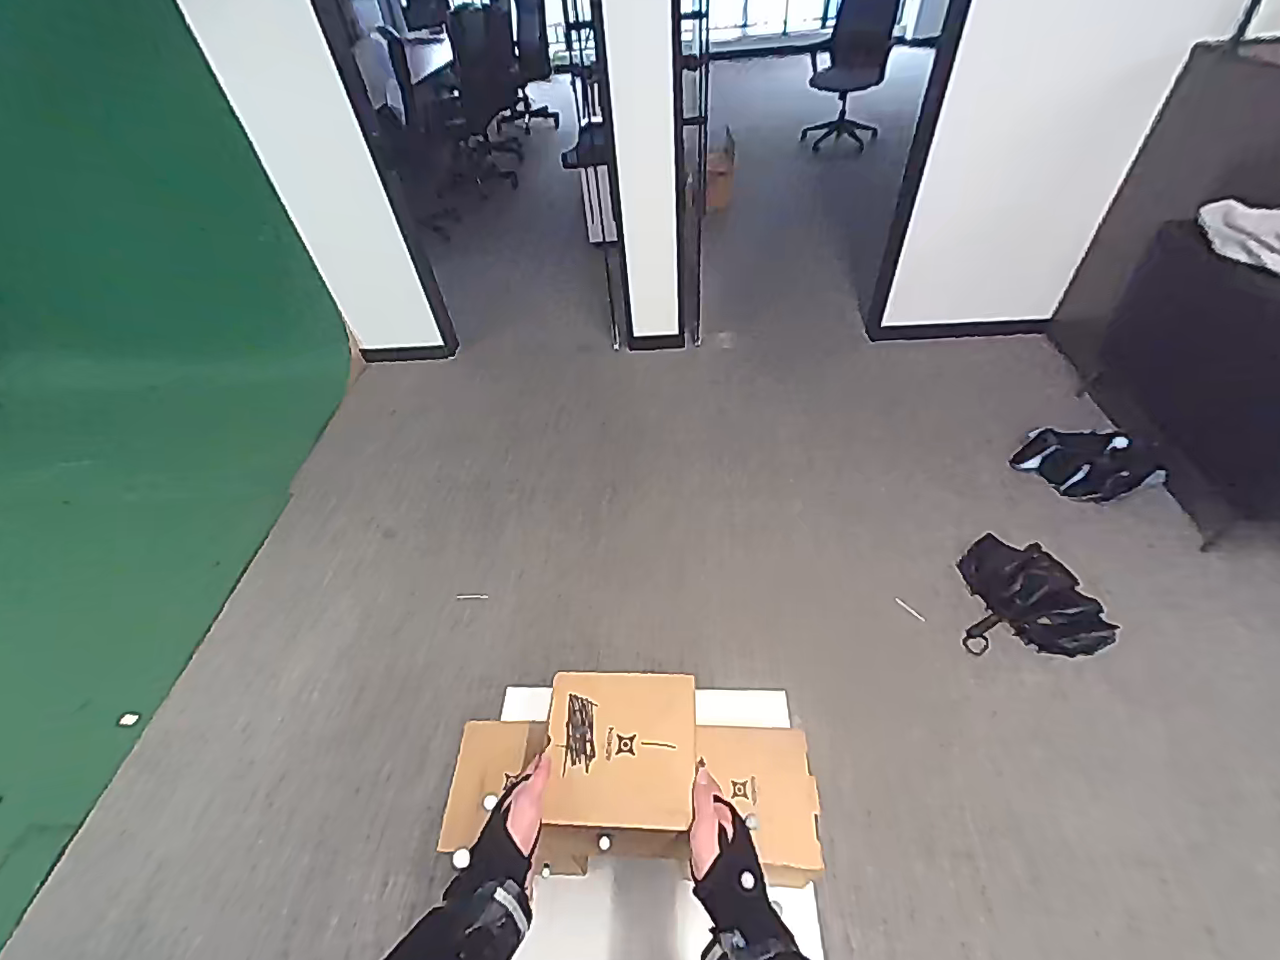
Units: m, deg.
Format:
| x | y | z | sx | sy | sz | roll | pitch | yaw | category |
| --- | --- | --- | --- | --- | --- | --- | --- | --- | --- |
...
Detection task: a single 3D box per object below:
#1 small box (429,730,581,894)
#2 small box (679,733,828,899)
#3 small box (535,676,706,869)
| x | y | z | sx | sy | sz | roll | pitch | yaw | category |
| --- | --- | --- | --- | --- | --- | --- | --- | --- | --- |
| -0.170 | 0.470 | 0.767 | 0.179 | 0.176 | 0.168 | -1 | 44 | 1 | small box |
| 0.144 | 0.471 | 0.757 | 0.179 | 0.176 | 0.168 | 0 | 46 | 4 | small box |
| -0.013 | 0.352 | 0.649 | 0.179 | 0.176 | 0.168 | 0 | 46 | 3 | small box |
